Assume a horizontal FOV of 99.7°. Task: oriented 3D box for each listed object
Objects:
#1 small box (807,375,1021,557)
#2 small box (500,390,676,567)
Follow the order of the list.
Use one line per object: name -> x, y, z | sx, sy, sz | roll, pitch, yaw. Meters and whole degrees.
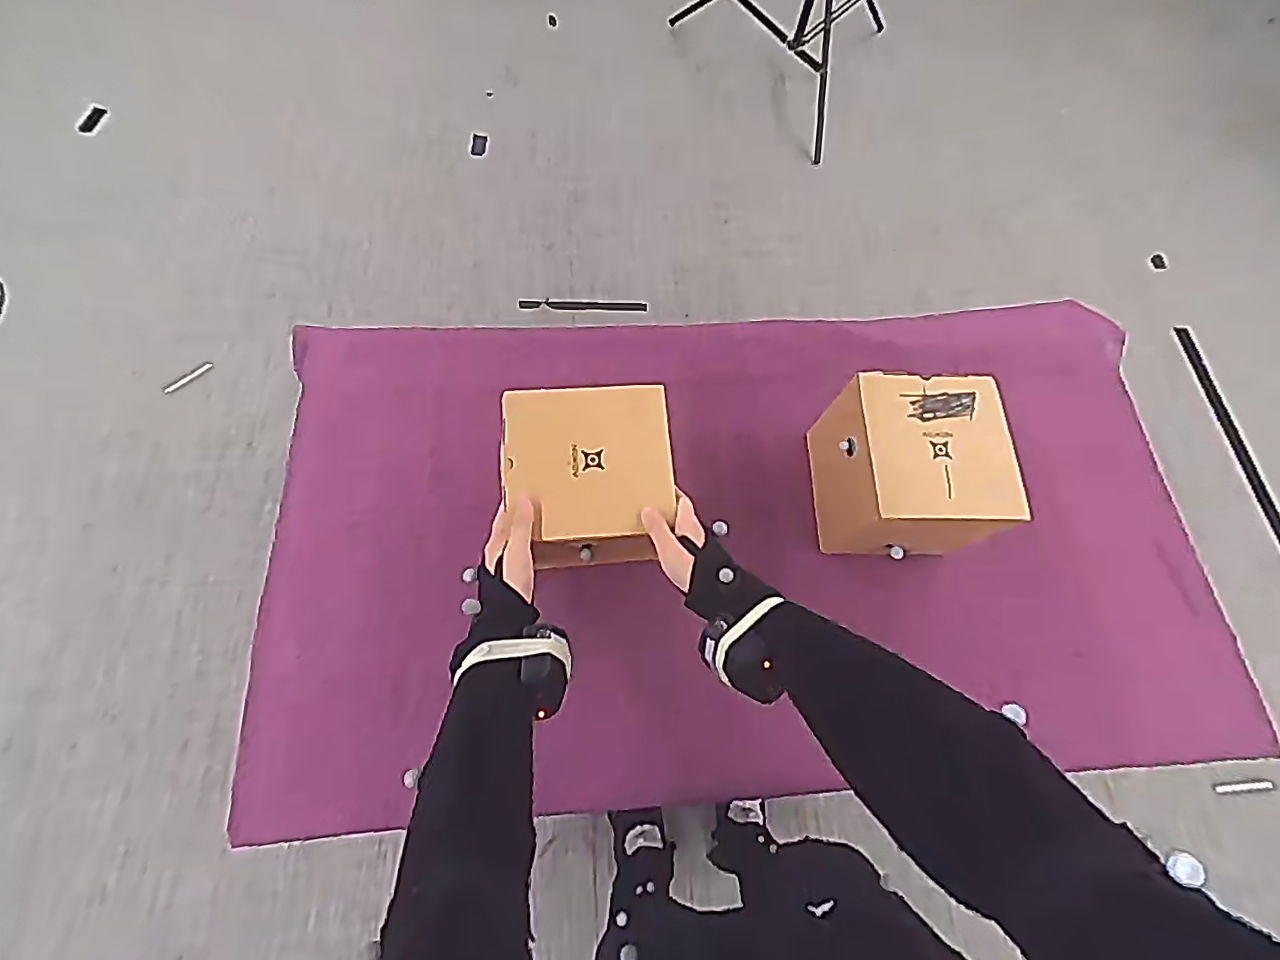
small box -> 0.318, -0.010, 0.671 | 0.168, 0.176, 0.179 | 1, 70, -3
small box -> -0.062, 0.006, 0.635 | 0.179, 0.176, 0.168 | -4, 74, -5
